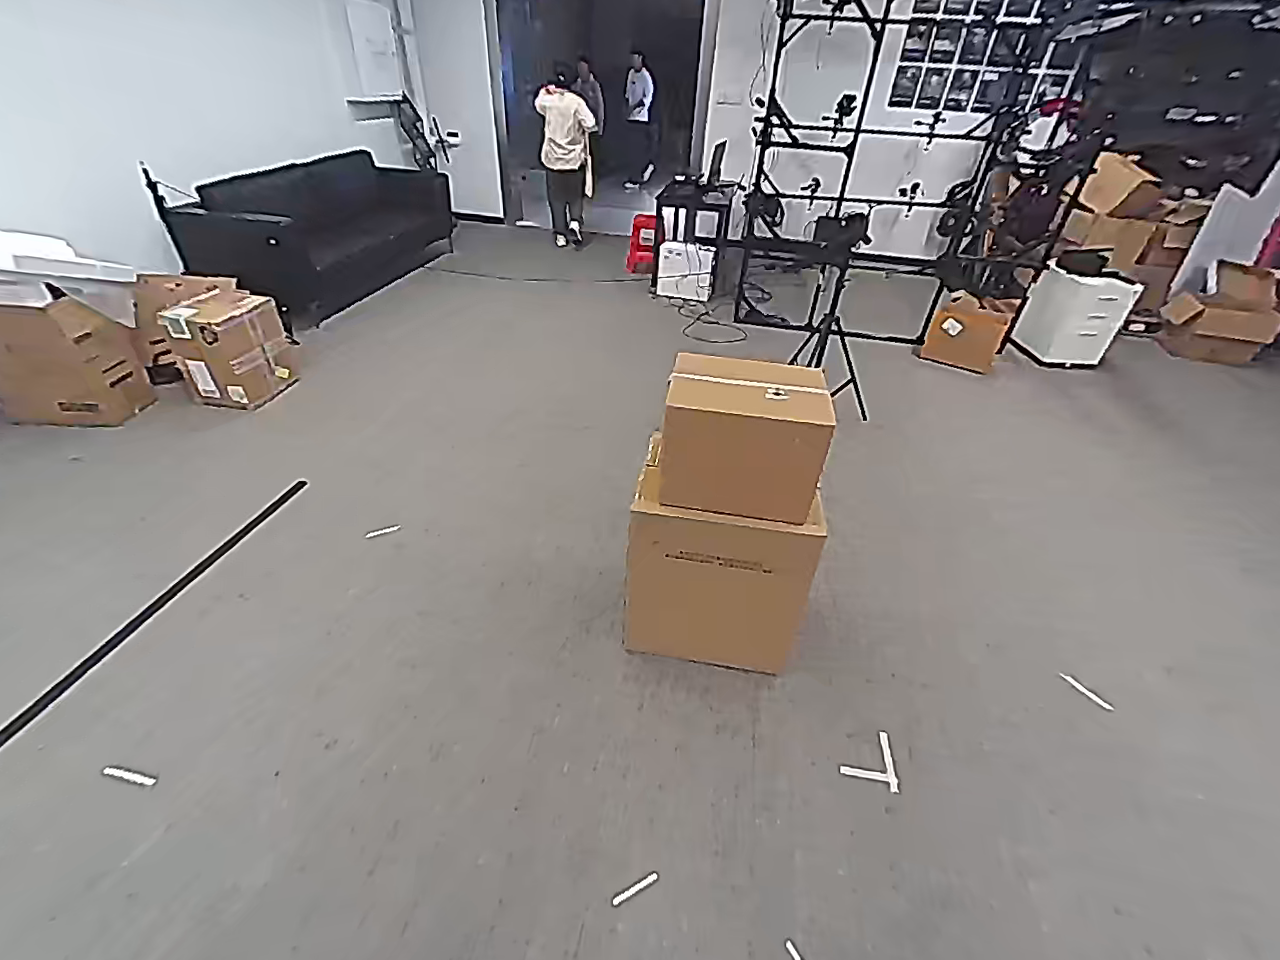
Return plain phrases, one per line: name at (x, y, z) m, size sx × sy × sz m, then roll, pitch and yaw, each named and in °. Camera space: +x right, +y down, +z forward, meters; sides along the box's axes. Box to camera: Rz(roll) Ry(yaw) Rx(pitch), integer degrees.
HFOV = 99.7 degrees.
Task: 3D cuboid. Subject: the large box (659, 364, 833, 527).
large box at (0.273, -0.101, 1.498) m, size 0.408 × 0.320 × 0.320 m, roll 8°, pitch 37°, yaw 5°
